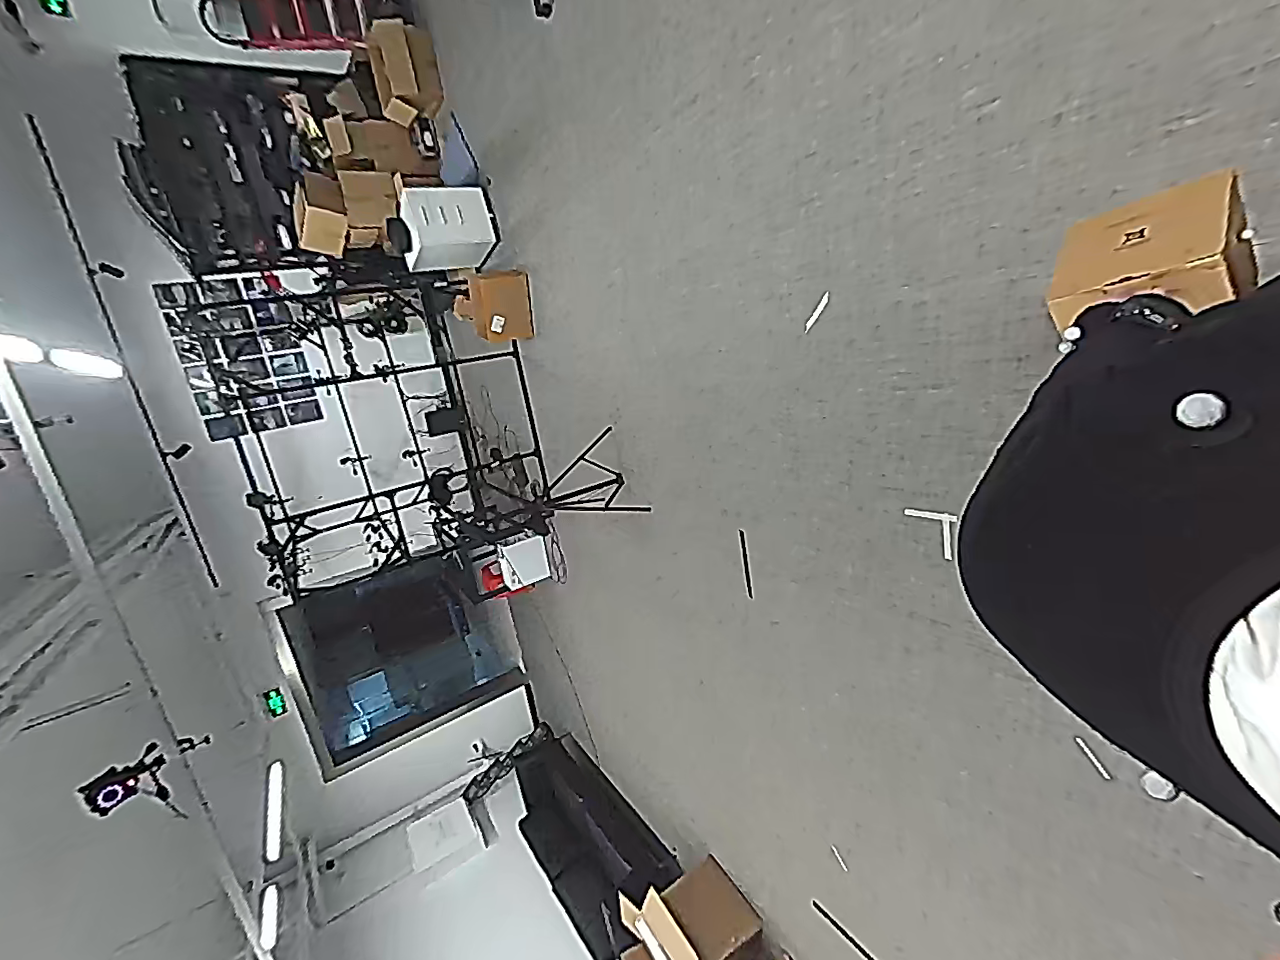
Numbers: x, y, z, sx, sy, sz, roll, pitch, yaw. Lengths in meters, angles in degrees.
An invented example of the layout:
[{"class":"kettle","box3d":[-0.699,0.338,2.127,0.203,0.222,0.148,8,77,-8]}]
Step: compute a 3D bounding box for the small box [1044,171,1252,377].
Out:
[{"class":"small box","box3d":[0.683,-0.258,0.726,0.176,0.179,0.168,44,155,-25]}]
